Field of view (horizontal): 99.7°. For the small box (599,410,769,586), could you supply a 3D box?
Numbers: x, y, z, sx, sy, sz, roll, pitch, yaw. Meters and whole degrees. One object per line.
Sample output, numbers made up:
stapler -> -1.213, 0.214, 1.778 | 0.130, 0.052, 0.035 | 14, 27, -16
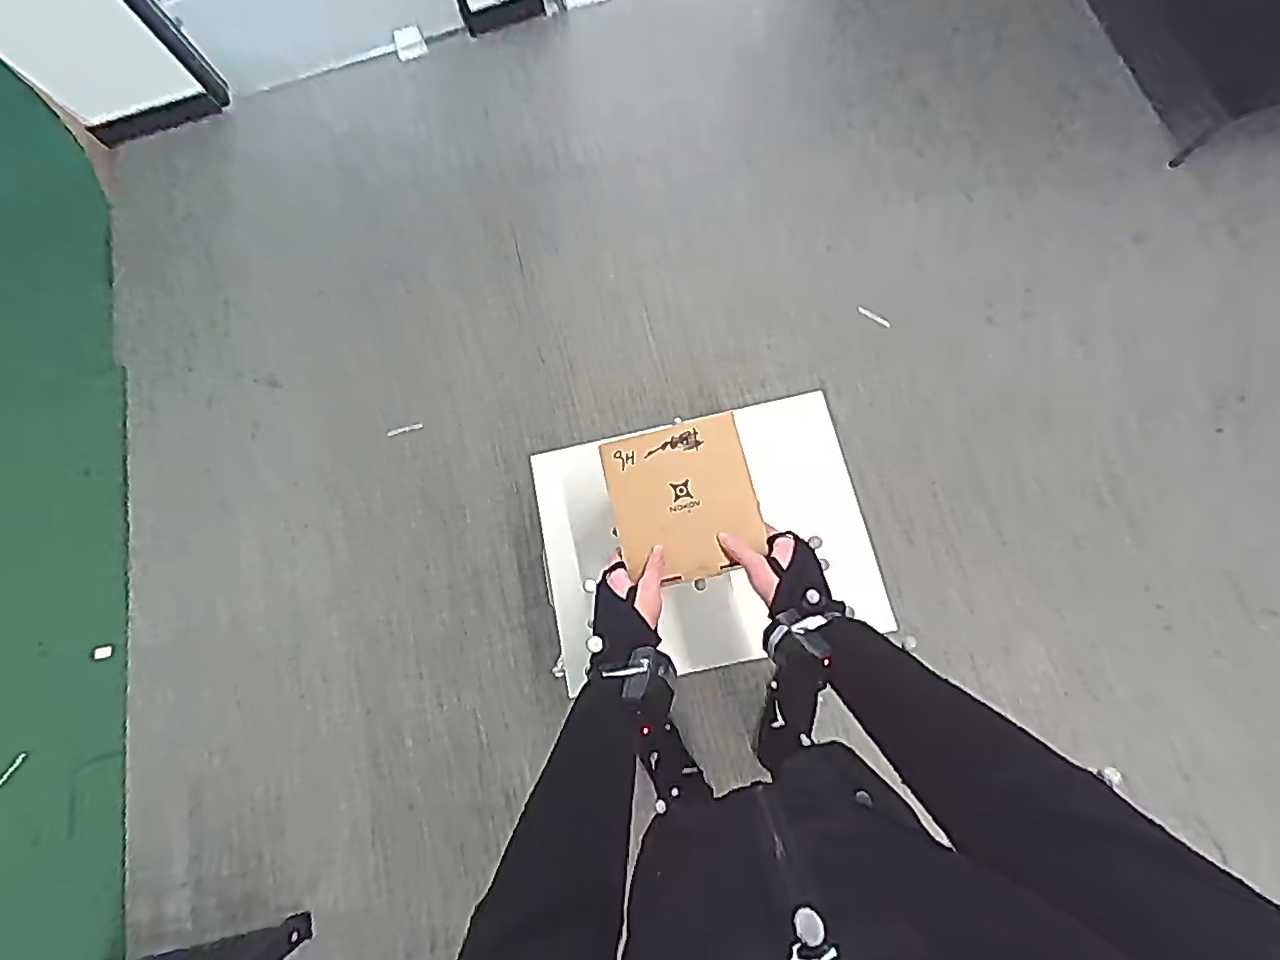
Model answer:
small box -> 0.056, 0.034, 0.702 | 0.168, 0.176, 0.179 | -15, 76, 2
